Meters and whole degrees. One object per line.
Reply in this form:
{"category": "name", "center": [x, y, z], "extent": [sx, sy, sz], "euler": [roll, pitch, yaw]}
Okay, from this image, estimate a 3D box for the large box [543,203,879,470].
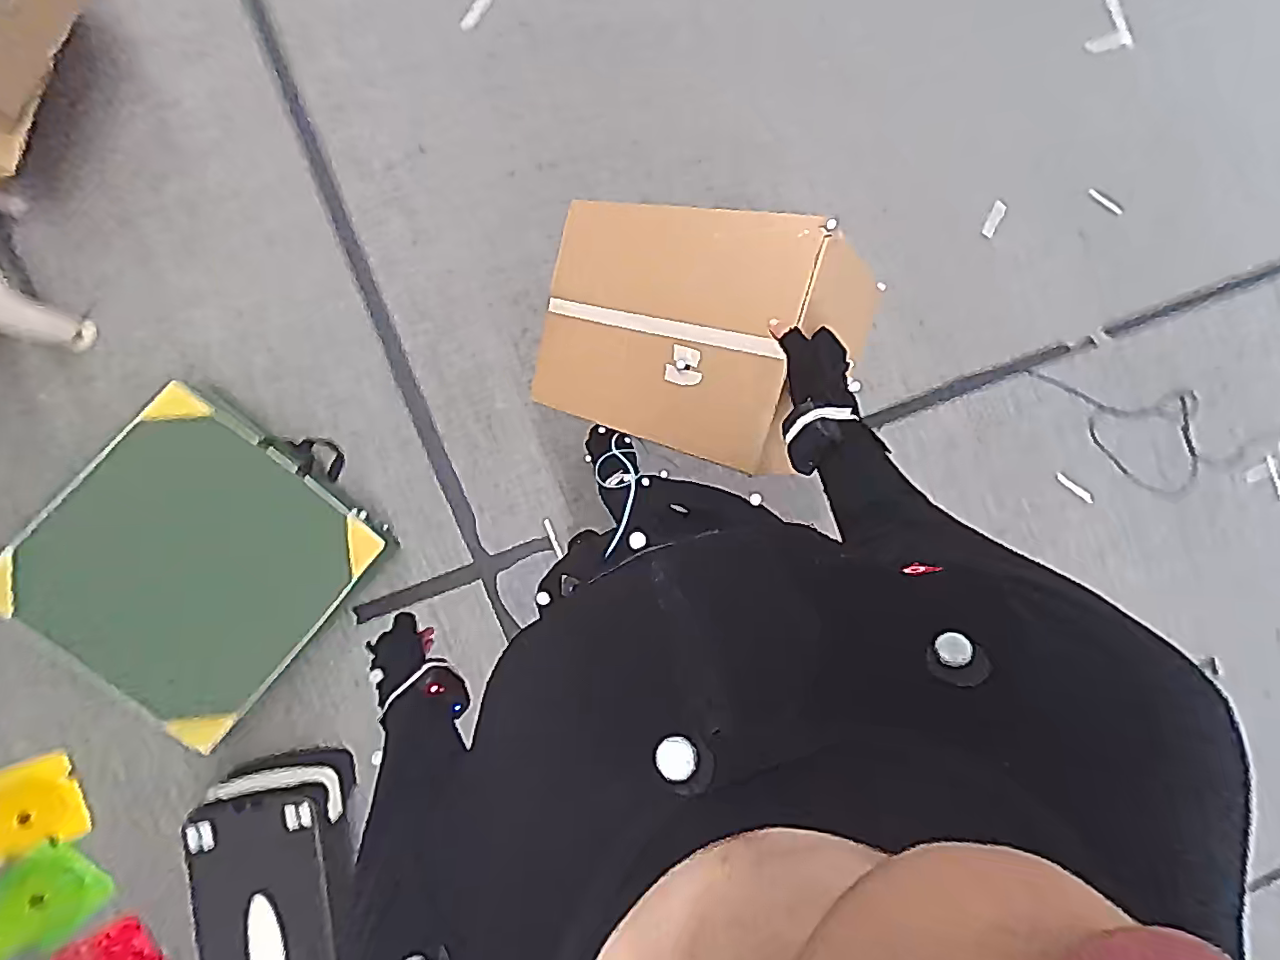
{"category": "large box", "center": [0.116, -0.221, 0.889], "extent": [0.408, 0.320, 0.320], "euler": [23, 104, 30]}
